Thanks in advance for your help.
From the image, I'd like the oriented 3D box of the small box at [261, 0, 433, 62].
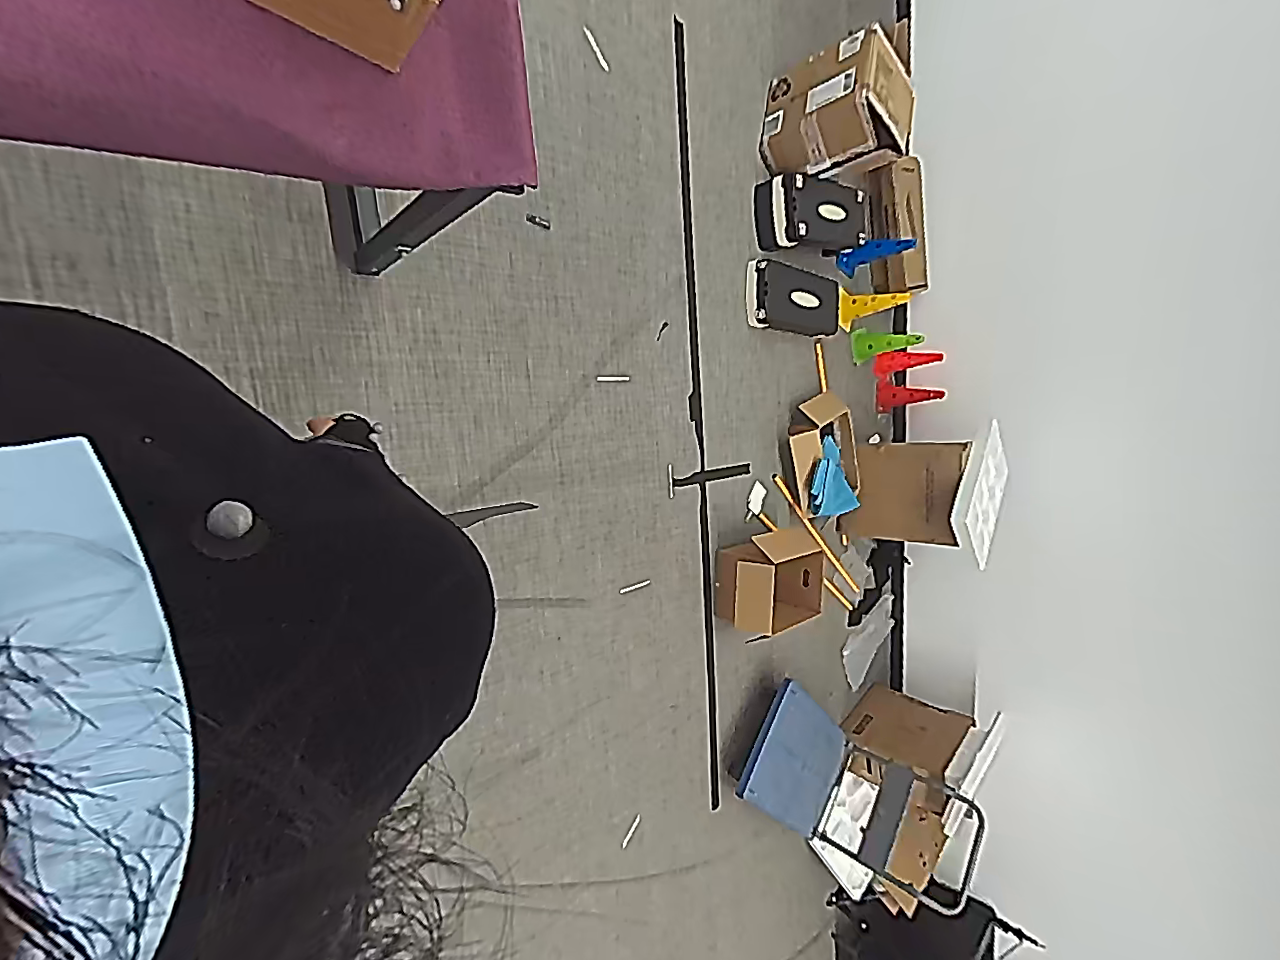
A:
[{"bbox_3d":[-0.336,-0.627,0.609,0.179,0.176,0.168,2,93,-42],"label":"small box"}]
